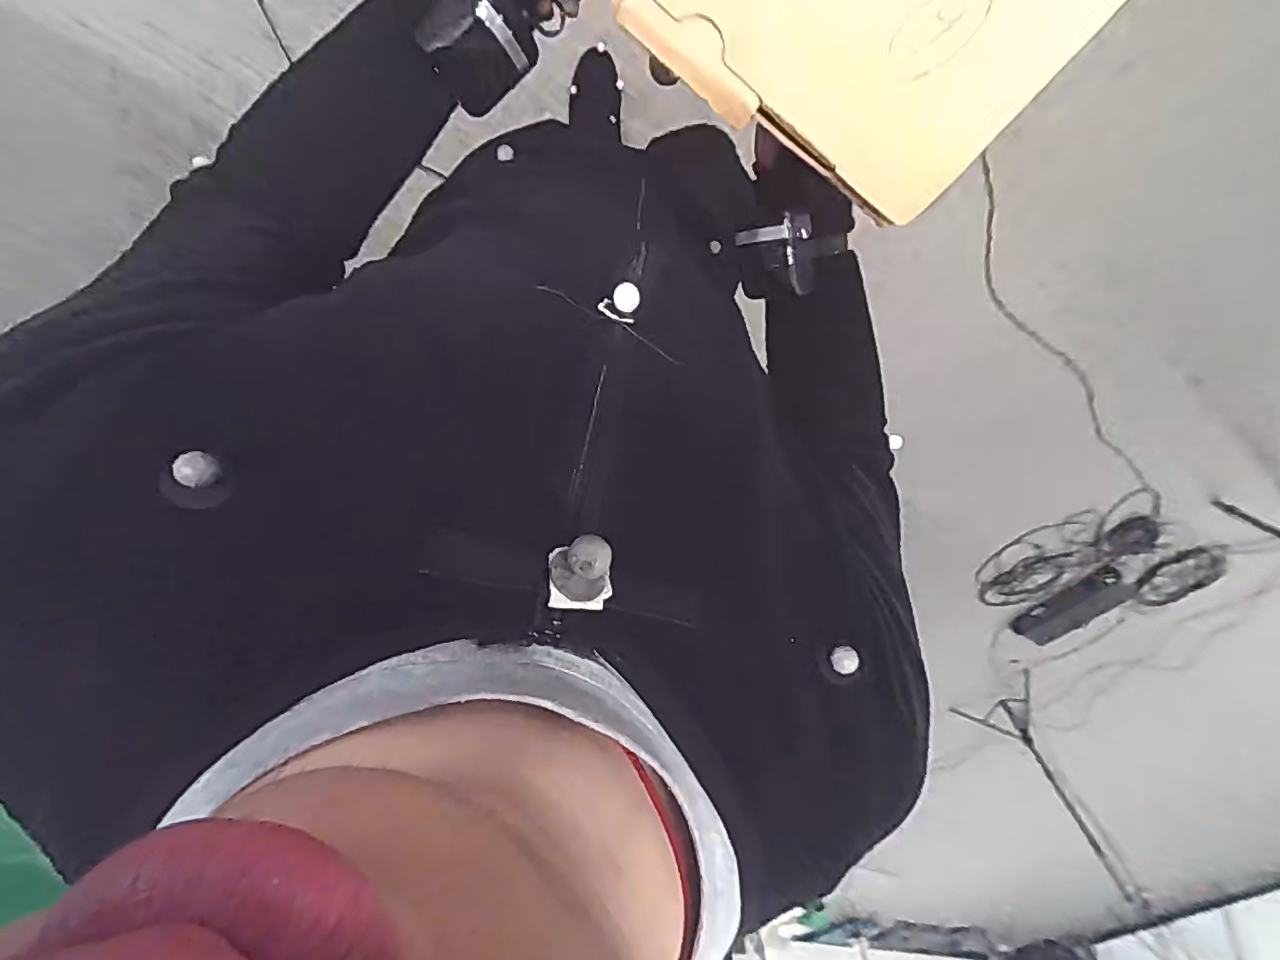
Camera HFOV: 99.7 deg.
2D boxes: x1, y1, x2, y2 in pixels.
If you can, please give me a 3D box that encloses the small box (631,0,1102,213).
[{"bbox_3d":[0.064,-0.222,0.150,0.168,0.176,0.179,27,130,-20],"label":"small box"}]
